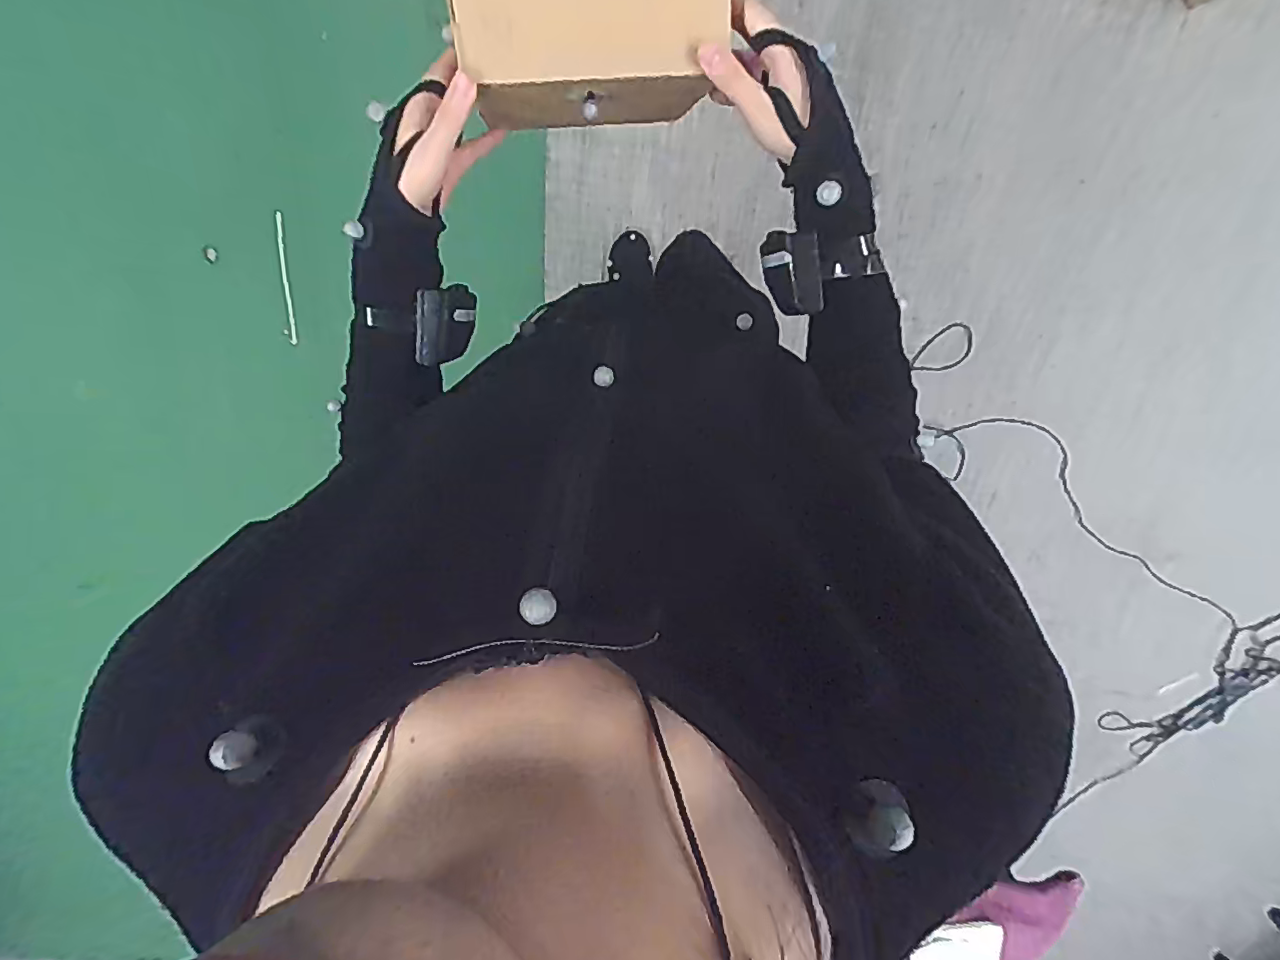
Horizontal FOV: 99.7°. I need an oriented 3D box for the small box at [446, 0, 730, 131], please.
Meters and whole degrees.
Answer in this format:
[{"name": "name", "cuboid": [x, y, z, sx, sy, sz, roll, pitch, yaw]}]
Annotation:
[{"name": "small box", "cuboid": [-0.042, -0.361, 0.385, 0.179, 0.176, 0.168, -7, 115, -6]}]
